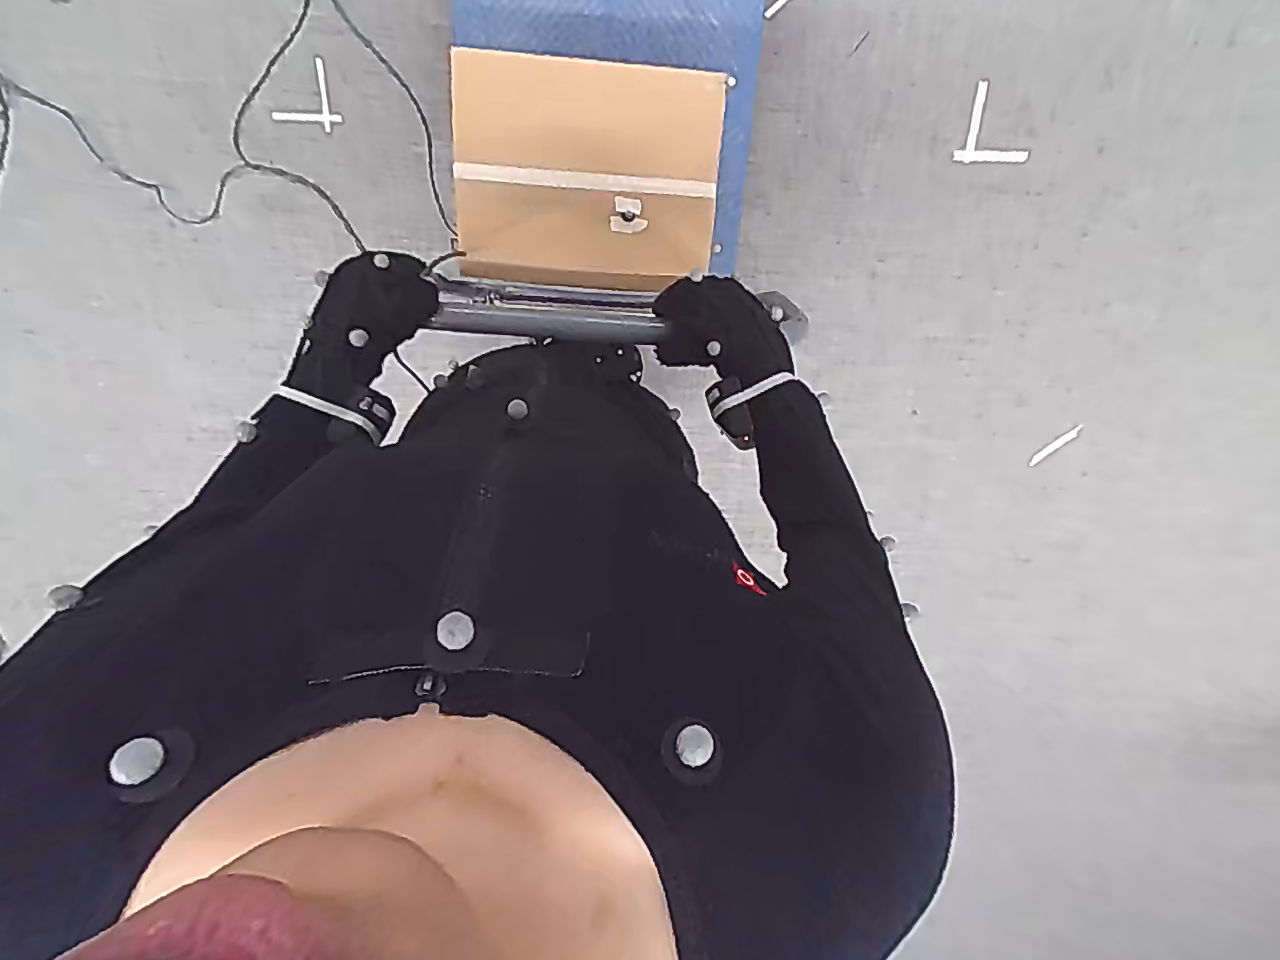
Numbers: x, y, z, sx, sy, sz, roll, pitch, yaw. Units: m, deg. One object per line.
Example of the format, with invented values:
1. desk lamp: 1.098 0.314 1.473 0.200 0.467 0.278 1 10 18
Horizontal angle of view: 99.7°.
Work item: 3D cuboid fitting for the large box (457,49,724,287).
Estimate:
1. large box: -0.087 -0.528 0.991 0.408 0.320 0.320 2 110 -4
